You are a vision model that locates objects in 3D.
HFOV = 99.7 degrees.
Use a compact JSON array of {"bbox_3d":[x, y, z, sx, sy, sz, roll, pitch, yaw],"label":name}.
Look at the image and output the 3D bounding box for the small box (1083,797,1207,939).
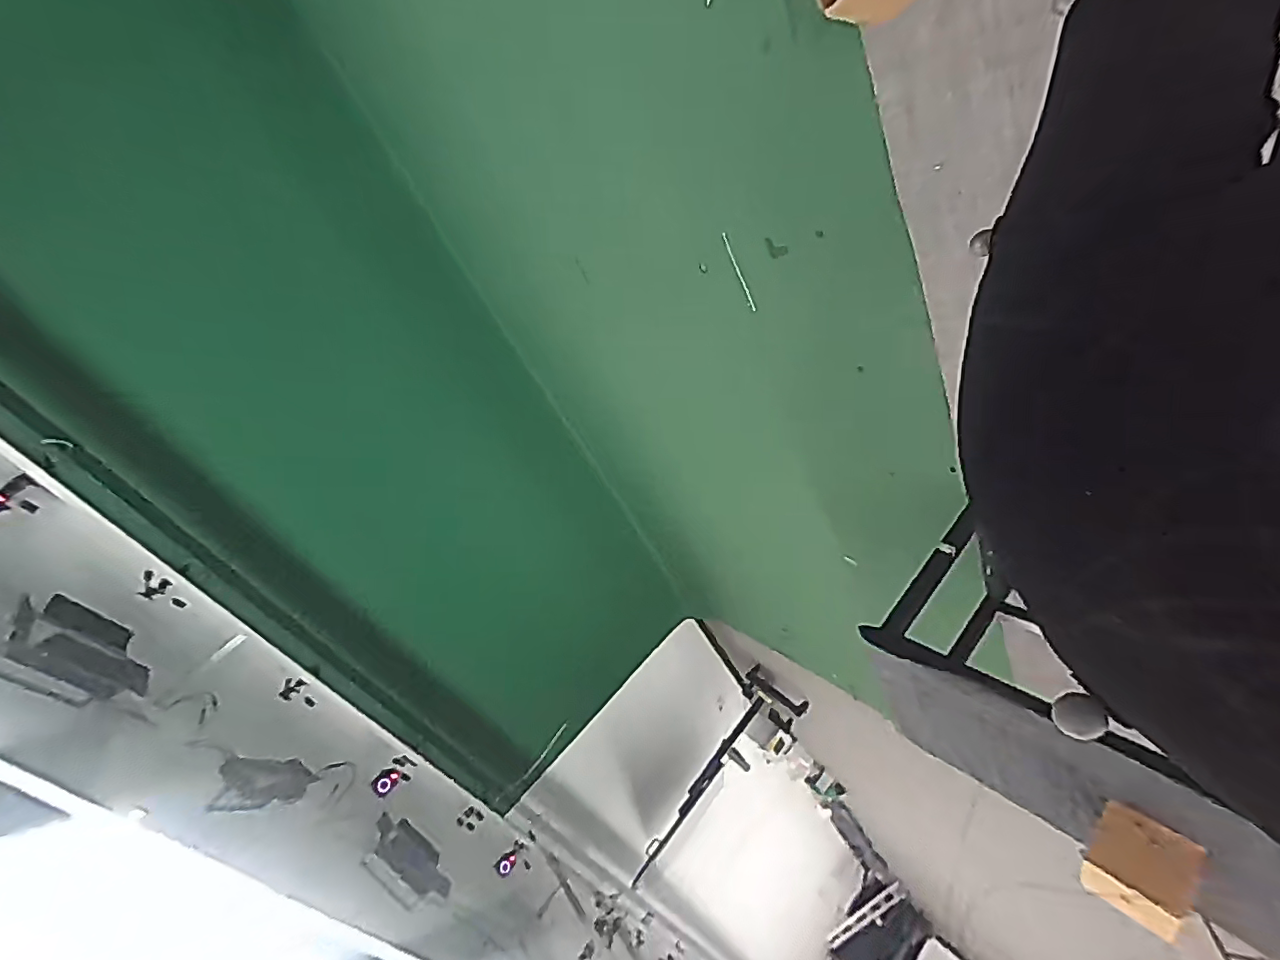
[{"bbox_3d":[1.135,0.868,1.220,0.168,0.176,0.179,20,147,51],"label":"small box"}]
